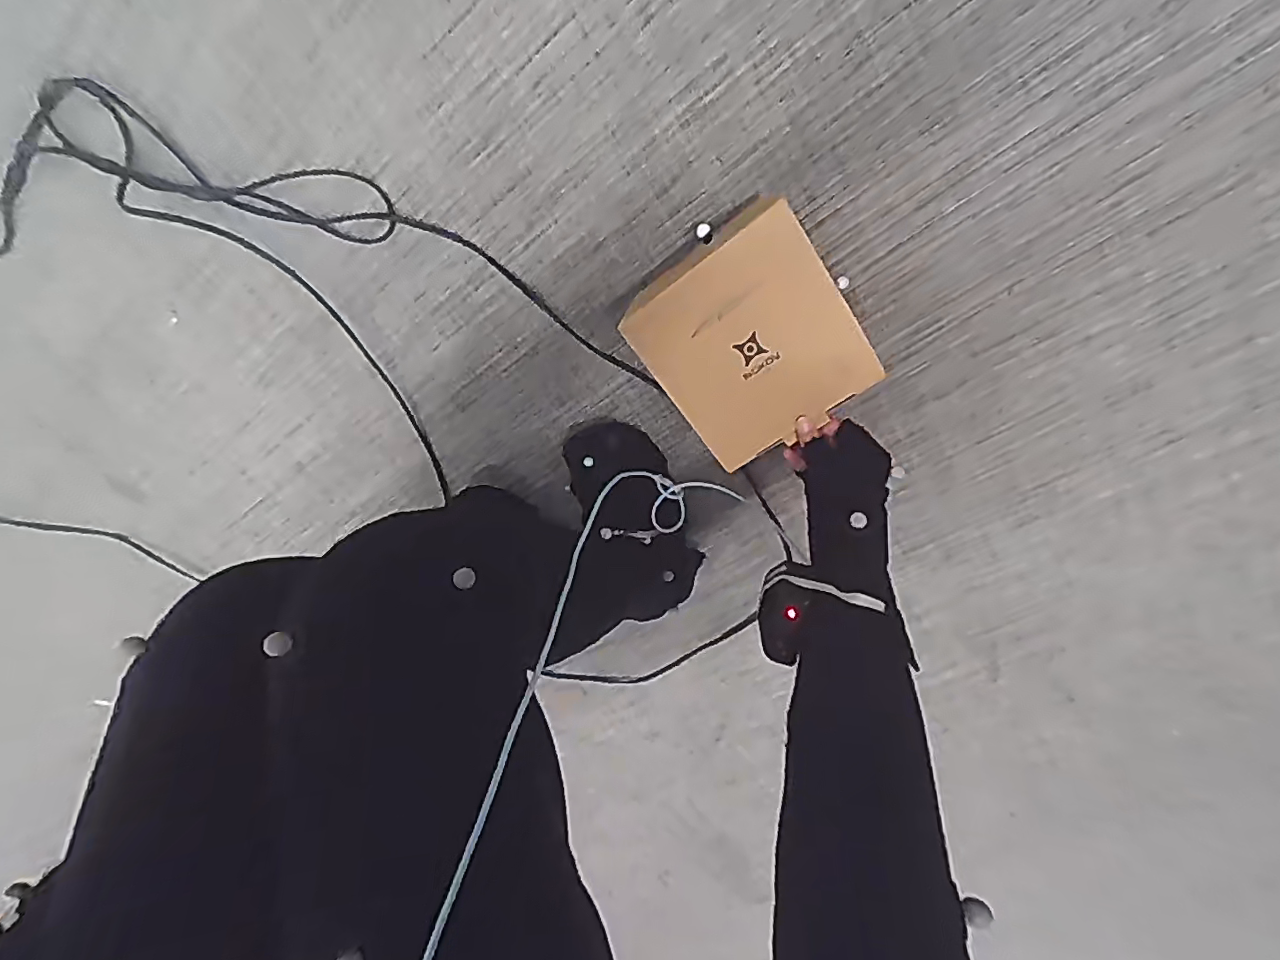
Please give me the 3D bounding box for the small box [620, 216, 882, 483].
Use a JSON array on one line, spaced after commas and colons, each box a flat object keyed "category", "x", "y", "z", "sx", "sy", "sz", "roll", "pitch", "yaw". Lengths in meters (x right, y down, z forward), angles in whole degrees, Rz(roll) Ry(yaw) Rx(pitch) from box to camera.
[{"category": "small box", "x": 0.104, "y": -0.135, "z": 0.534, "sx": 0.168, "sy": 0.176, "sz": 0.179, "roll": -32, "pitch": 111, "yaw": 20}]
